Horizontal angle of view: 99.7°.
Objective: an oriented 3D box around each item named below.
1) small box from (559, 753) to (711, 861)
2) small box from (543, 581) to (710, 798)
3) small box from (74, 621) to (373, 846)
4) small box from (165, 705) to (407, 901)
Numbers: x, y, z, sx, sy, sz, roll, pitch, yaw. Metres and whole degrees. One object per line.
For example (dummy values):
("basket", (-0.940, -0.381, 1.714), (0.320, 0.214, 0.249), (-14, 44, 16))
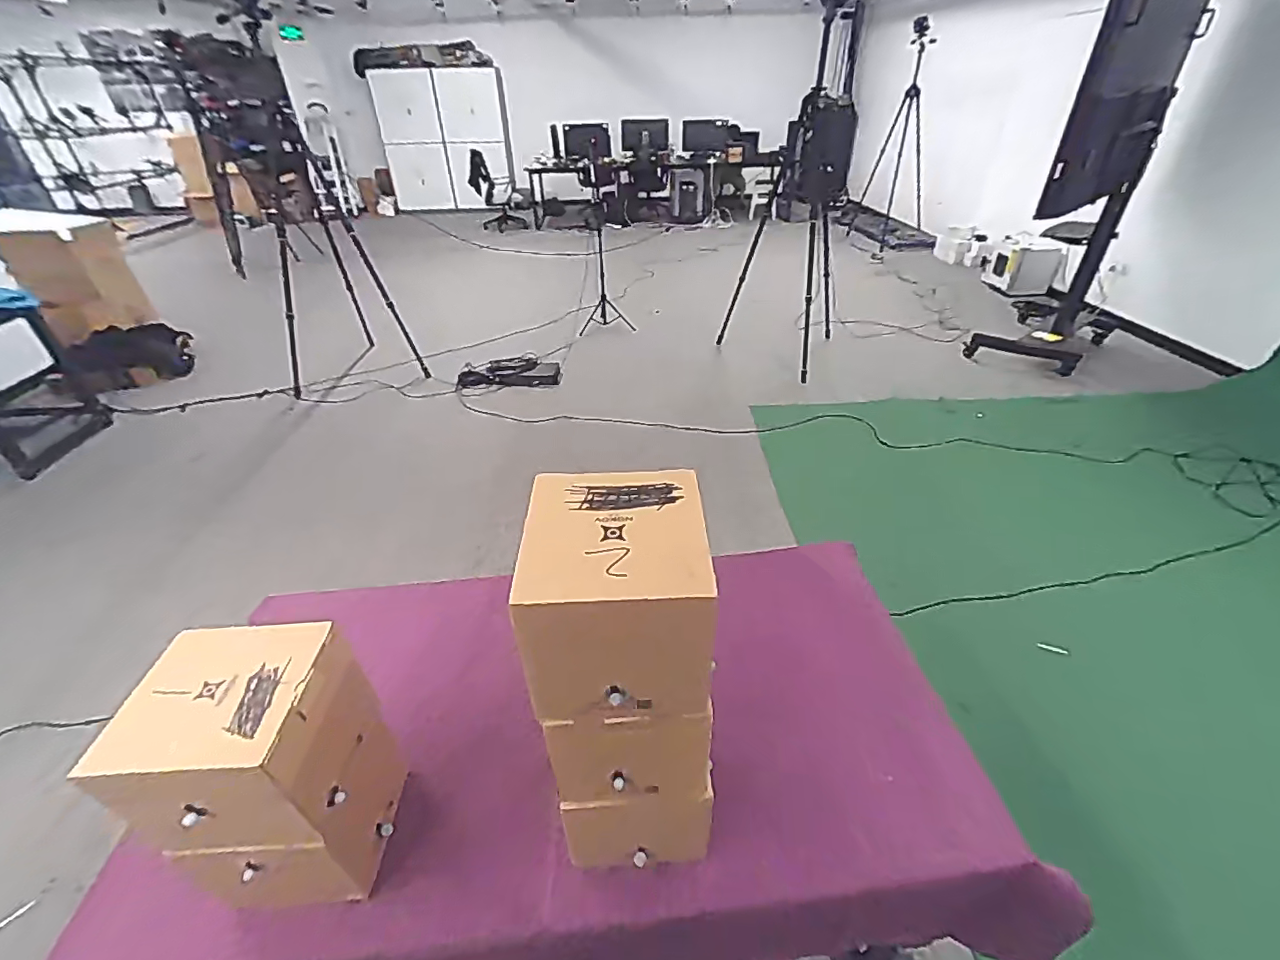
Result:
("small box", (-0.010, 0.381, 0.723), (0.179, 0.176, 0.168), (-3, 35, -3))
("small box", (-0.015, 0.242, 0.637), (0.168, 0.176, 0.179), (-3, 37, -2))
("small box", (-0.427, 0.279, 0.599), (0.179, 0.176, 0.168), (-3, 36, -1))
("small box", (-0.428, 0.413, 0.693), (0.179, 0.176, 0.168), (-2, 36, -2))
